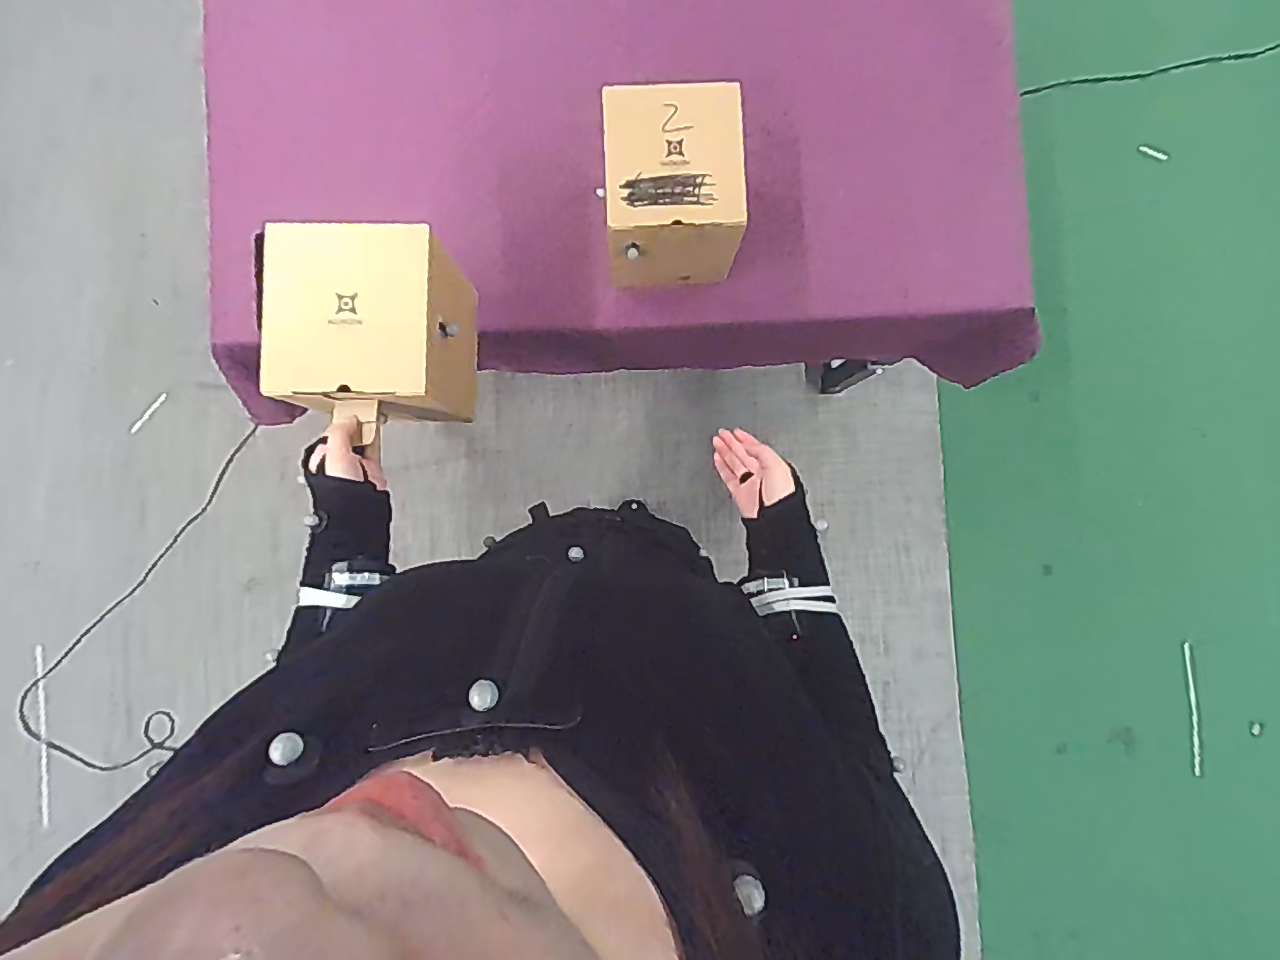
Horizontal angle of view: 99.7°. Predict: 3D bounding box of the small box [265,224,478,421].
[{"bbox_3d":[-0.294,-0.169,0.627,0.168,0.176,0.179,1,88,-1],"label":"small box"}]
